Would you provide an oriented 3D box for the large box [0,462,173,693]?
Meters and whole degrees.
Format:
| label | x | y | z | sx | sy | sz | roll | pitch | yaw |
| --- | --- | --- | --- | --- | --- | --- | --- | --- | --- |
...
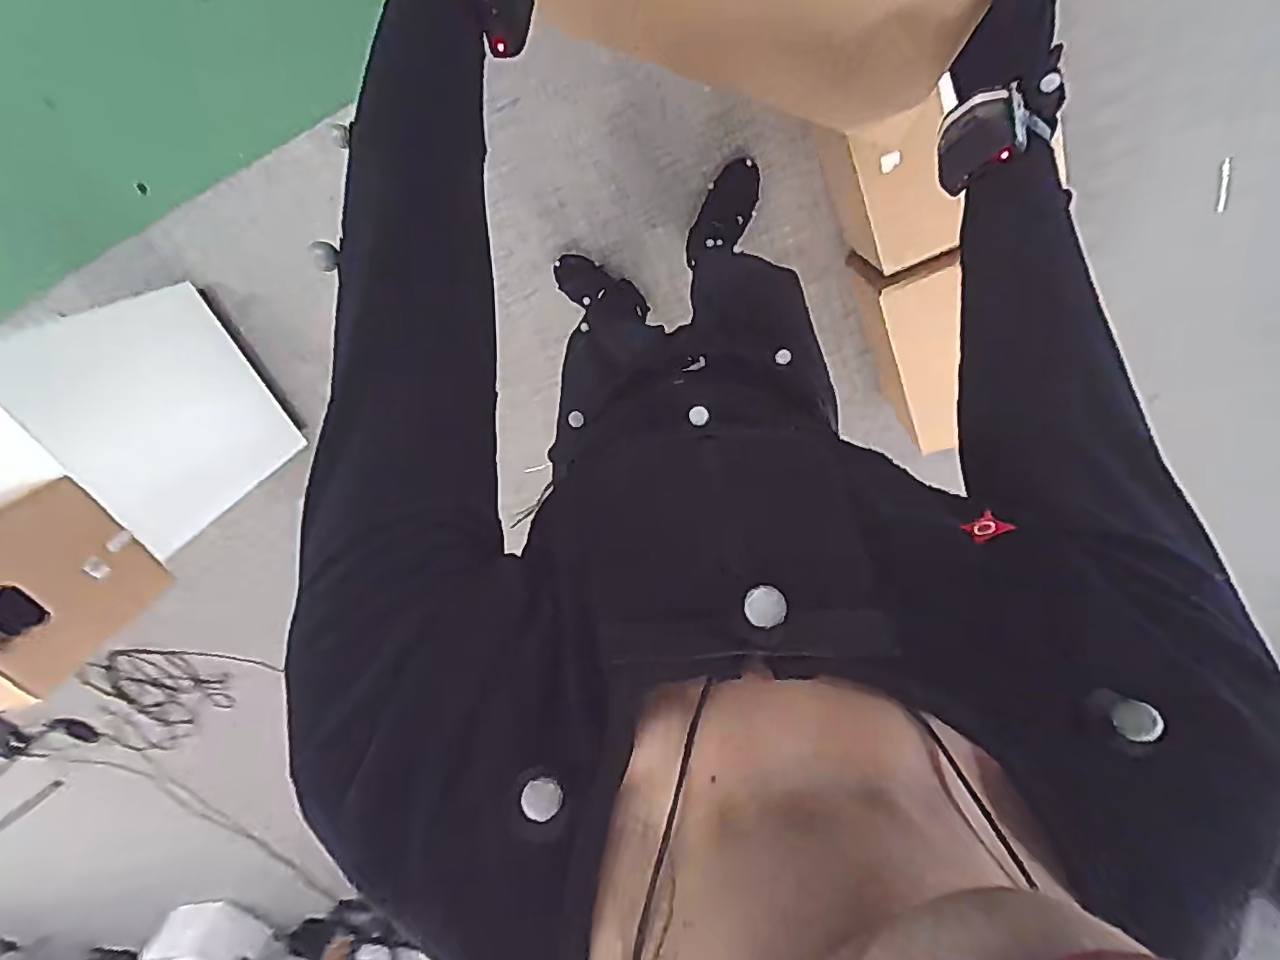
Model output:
| label | x | y | z | sx | sy | sz | roll | pitch | yaw |
| --- | --- | --- | --- | --- | --- | --- | --- | --- | --- |
| large box | -1.287 | 0.205 | 1.068 | 0.408 | 0.320 | 0.320 | -12 | 120 | 15 |
